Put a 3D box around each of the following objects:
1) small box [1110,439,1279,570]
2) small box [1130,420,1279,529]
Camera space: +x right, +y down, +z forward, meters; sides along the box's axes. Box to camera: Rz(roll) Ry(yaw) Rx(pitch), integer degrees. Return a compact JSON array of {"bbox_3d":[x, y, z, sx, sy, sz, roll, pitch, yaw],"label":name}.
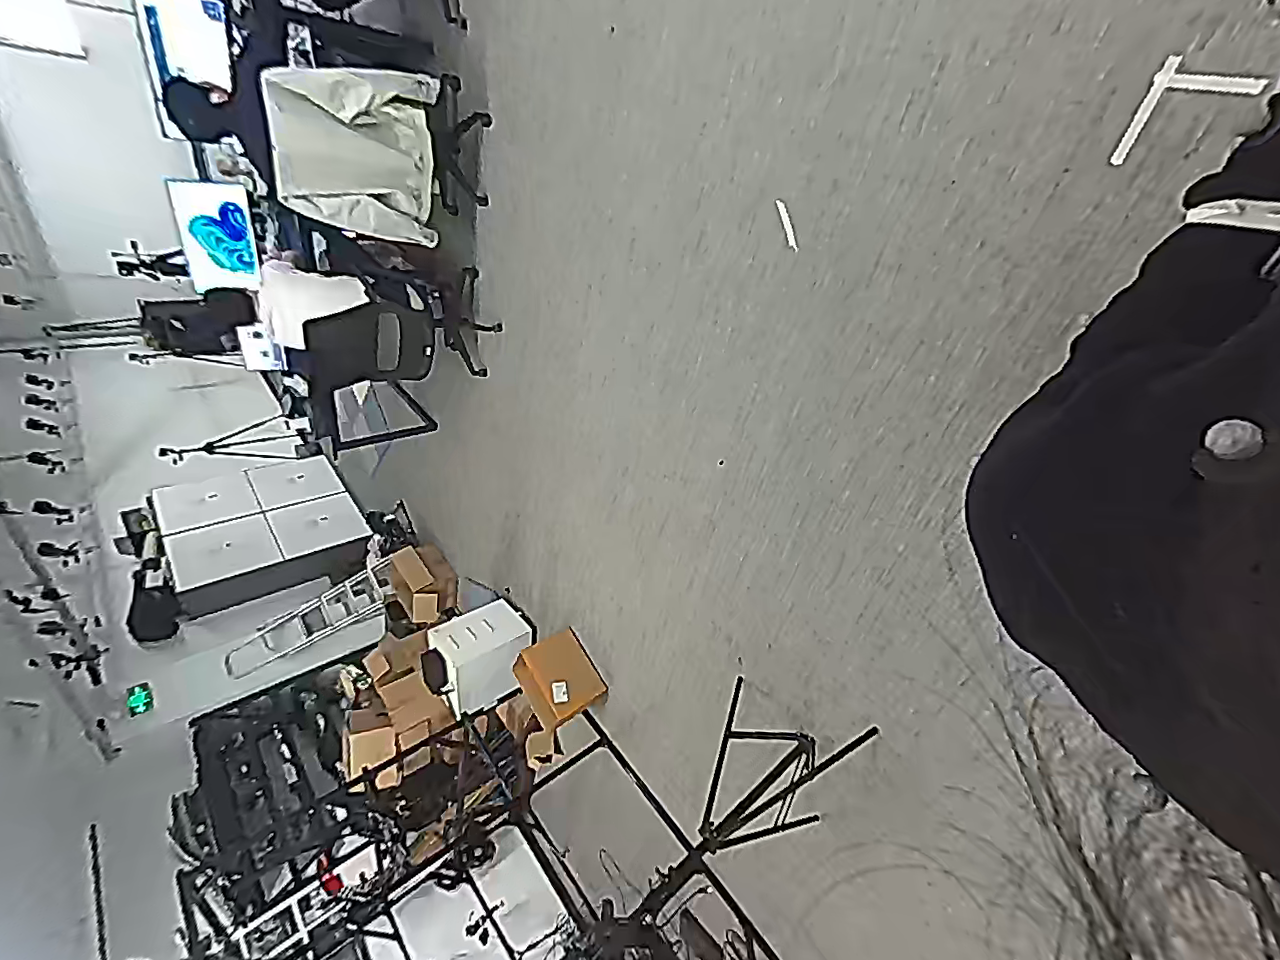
[{"bbox_3d":[0.765,0.066,0.697,0.168,0.176,0.179,37,131,36],"label":"small box"},{"bbox_3d":[0.888,0.033,0.798,0.168,0.176,0.179,38,130,34],"label":"small box"}]
